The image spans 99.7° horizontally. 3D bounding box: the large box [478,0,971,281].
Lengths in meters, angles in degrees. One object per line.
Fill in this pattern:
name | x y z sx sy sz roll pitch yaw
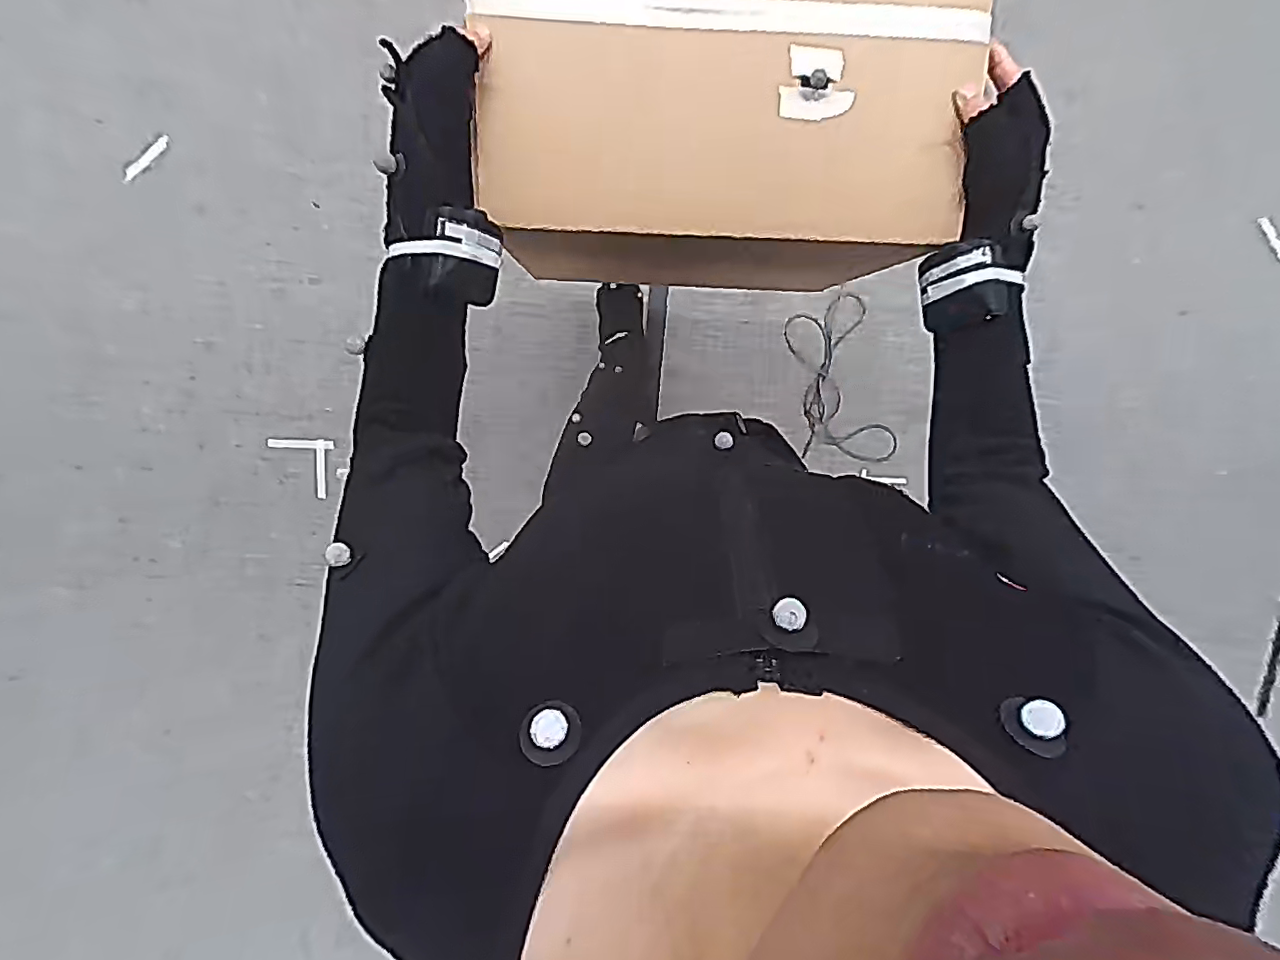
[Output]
large box | 0.060 -0.399 0.579 0.408 0.320 0.320 1 103 -3
